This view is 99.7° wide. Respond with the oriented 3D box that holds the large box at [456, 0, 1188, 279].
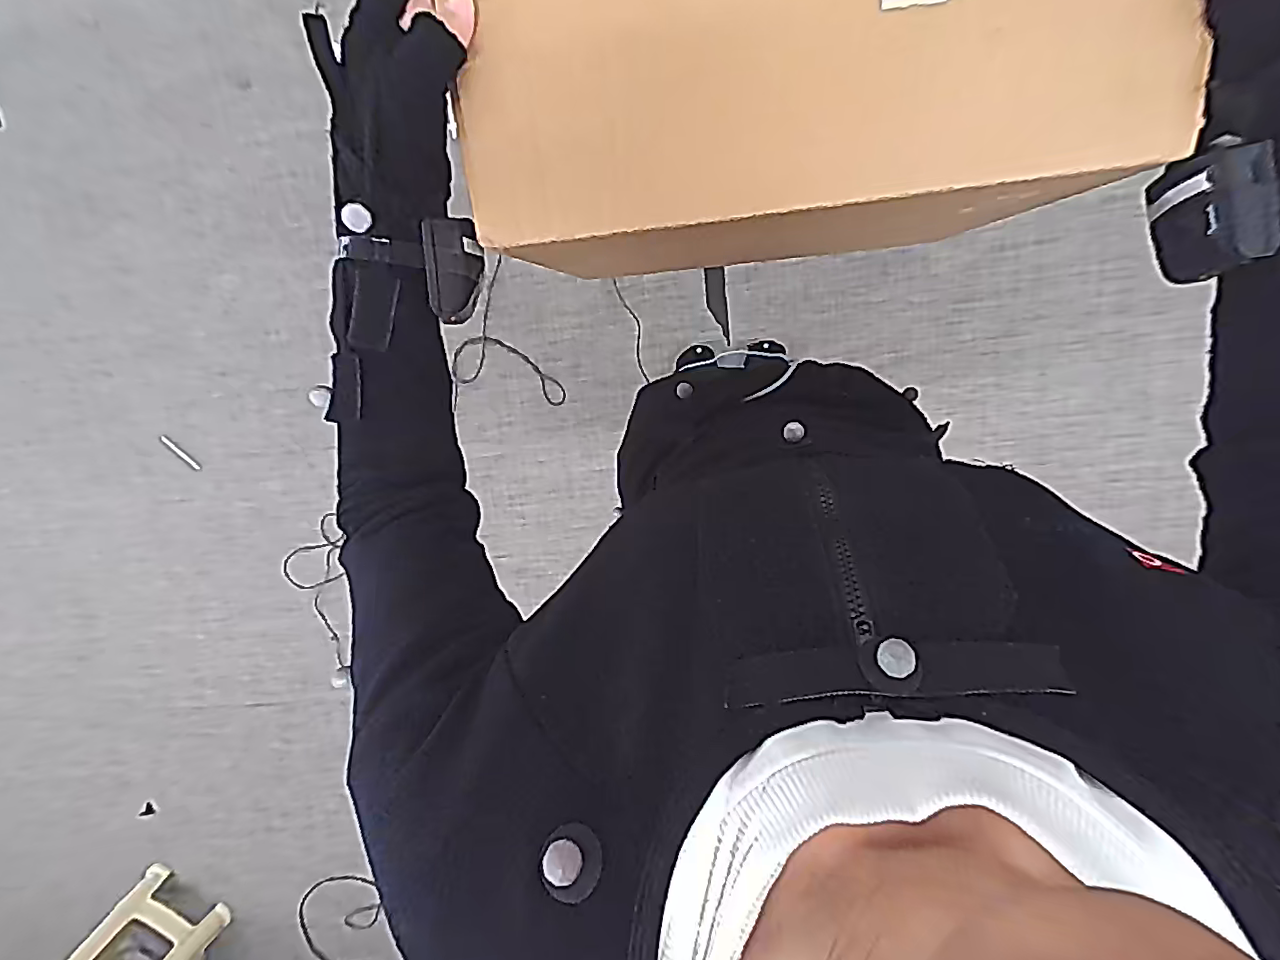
[{"bbox_3d":[0.097,-0.359,0.432,0.408,0.320,0.320,-5,106,7],"label":"large box"}]
